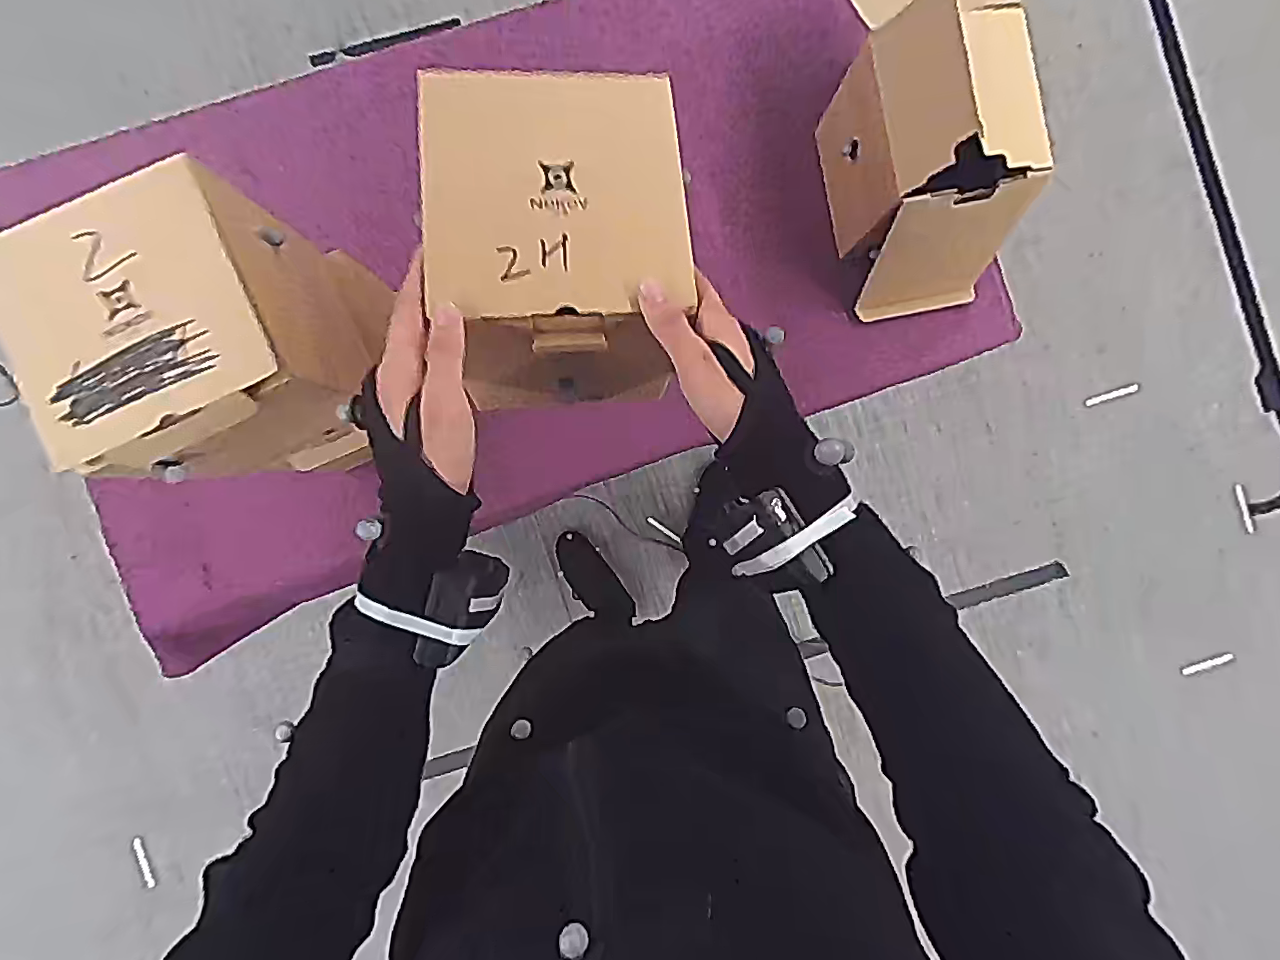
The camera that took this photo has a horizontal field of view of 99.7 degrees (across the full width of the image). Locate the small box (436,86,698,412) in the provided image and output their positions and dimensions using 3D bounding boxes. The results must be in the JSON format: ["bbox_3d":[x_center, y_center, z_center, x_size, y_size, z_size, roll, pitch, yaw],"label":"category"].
[{"bbox_3d":[-0.057,-0.165,0.431,0.168,0.176,0.179,-3,79,-7],"label":"small box"}]

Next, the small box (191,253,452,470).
[{"bbox_3d":[-0.342,-0.121,0.621,0.168,0.176,0.179,-22,92,-2],"label":"small box"}]
